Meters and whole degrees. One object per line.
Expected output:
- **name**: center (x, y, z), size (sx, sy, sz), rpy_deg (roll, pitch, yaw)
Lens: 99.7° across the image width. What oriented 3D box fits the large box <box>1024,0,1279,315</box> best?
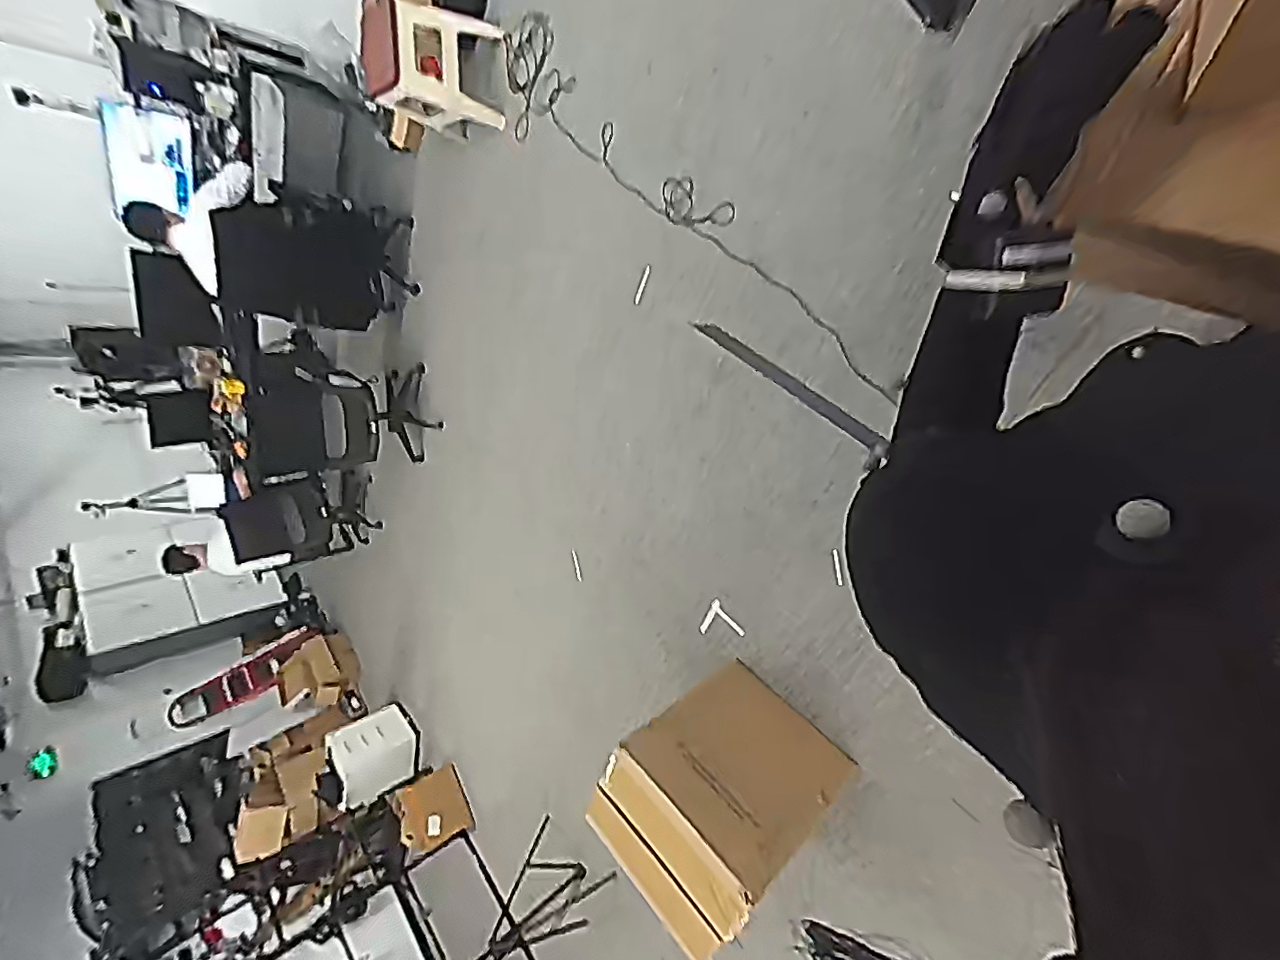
- **large box**: center (0.569, -0.290, 0.383), size (0.408, 0.320, 0.320), rpy_deg (29, 116, 29)
